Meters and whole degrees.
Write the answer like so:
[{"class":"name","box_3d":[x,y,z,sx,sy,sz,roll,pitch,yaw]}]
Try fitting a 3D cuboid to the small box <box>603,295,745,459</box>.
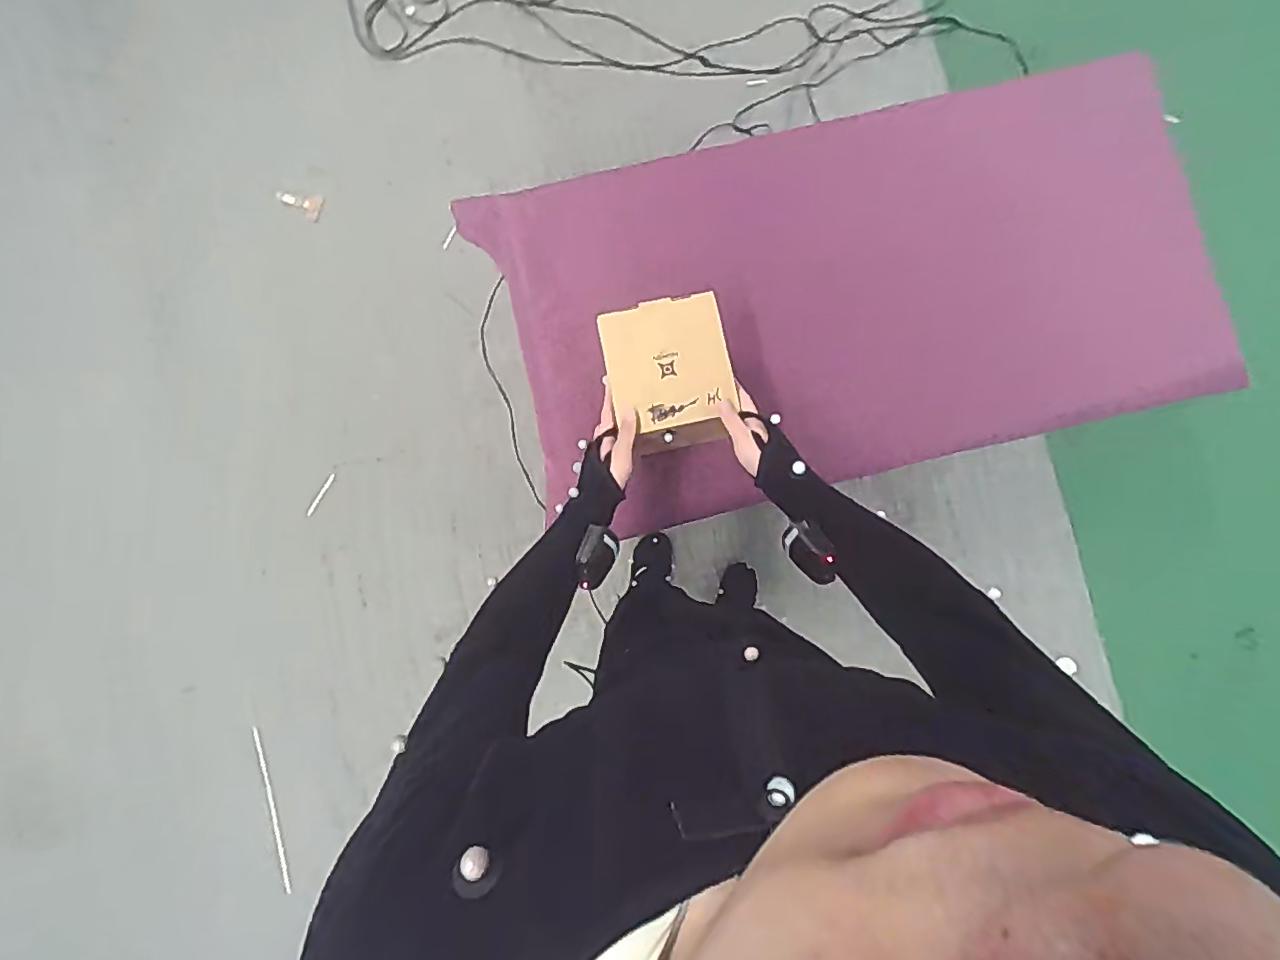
[{"class":"small box","box_3d":[0.048,-0.141,0.795,0.168,0.176,0.179,-11,83,3]}]
